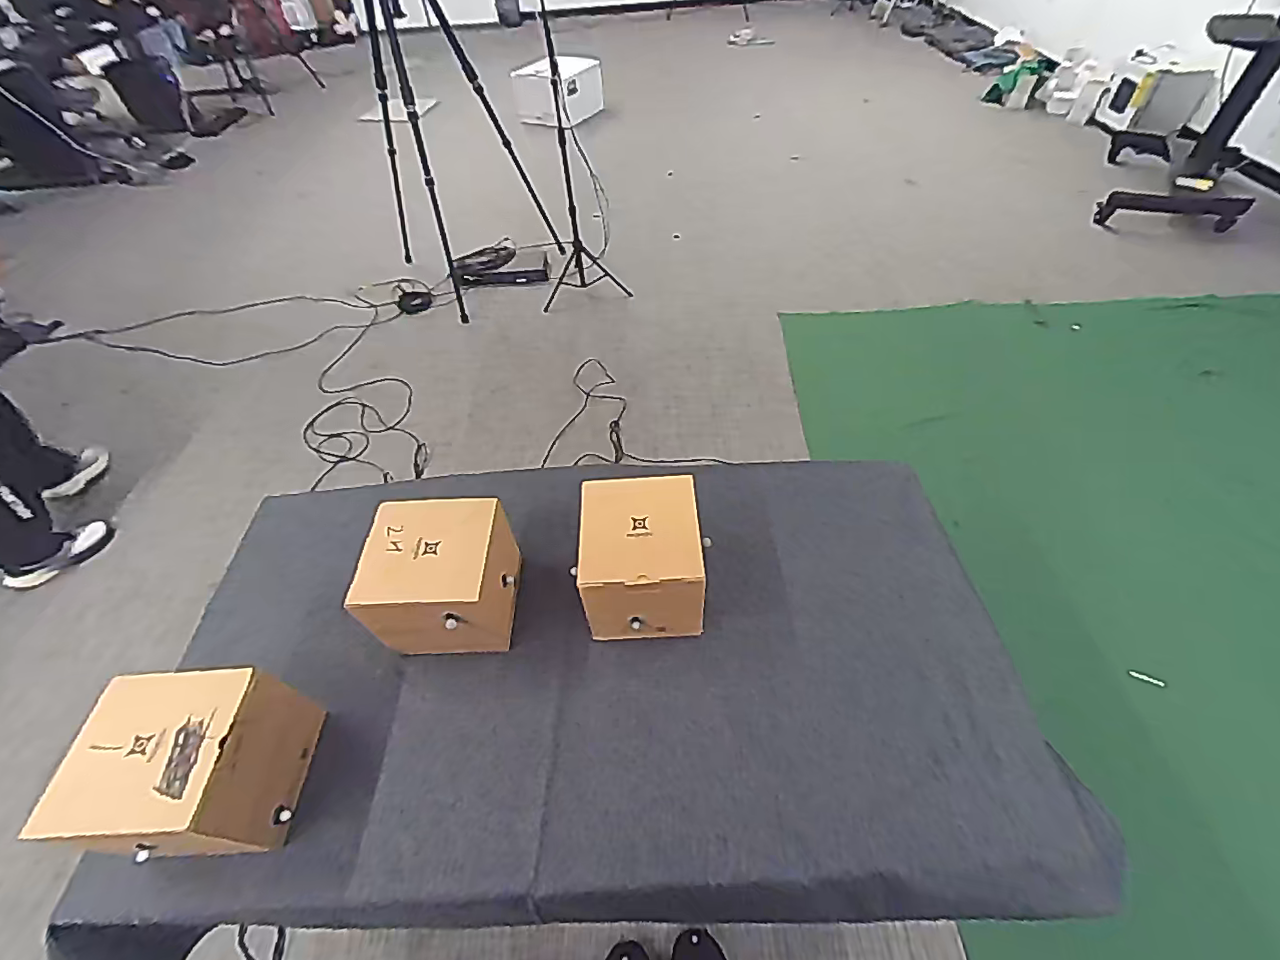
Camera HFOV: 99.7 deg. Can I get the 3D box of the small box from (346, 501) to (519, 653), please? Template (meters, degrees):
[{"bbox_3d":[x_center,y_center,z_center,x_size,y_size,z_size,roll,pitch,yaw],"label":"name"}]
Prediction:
[{"bbox_3d":[-0.286,0.145,0.795,0.179,0.176,0.168,-2,51,2],"label":"small box"}]

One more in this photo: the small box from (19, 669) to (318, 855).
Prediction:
[{"bbox_3d":[-0.530,0.339,0.647,0.179,0.176,0.168,-3,49,1],"label":"small box"}]

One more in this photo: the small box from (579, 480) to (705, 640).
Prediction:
[{"bbox_3d":[0.002,0.120,0.806,0.168,0.176,0.179,-3,51,1],"label":"small box"}]
